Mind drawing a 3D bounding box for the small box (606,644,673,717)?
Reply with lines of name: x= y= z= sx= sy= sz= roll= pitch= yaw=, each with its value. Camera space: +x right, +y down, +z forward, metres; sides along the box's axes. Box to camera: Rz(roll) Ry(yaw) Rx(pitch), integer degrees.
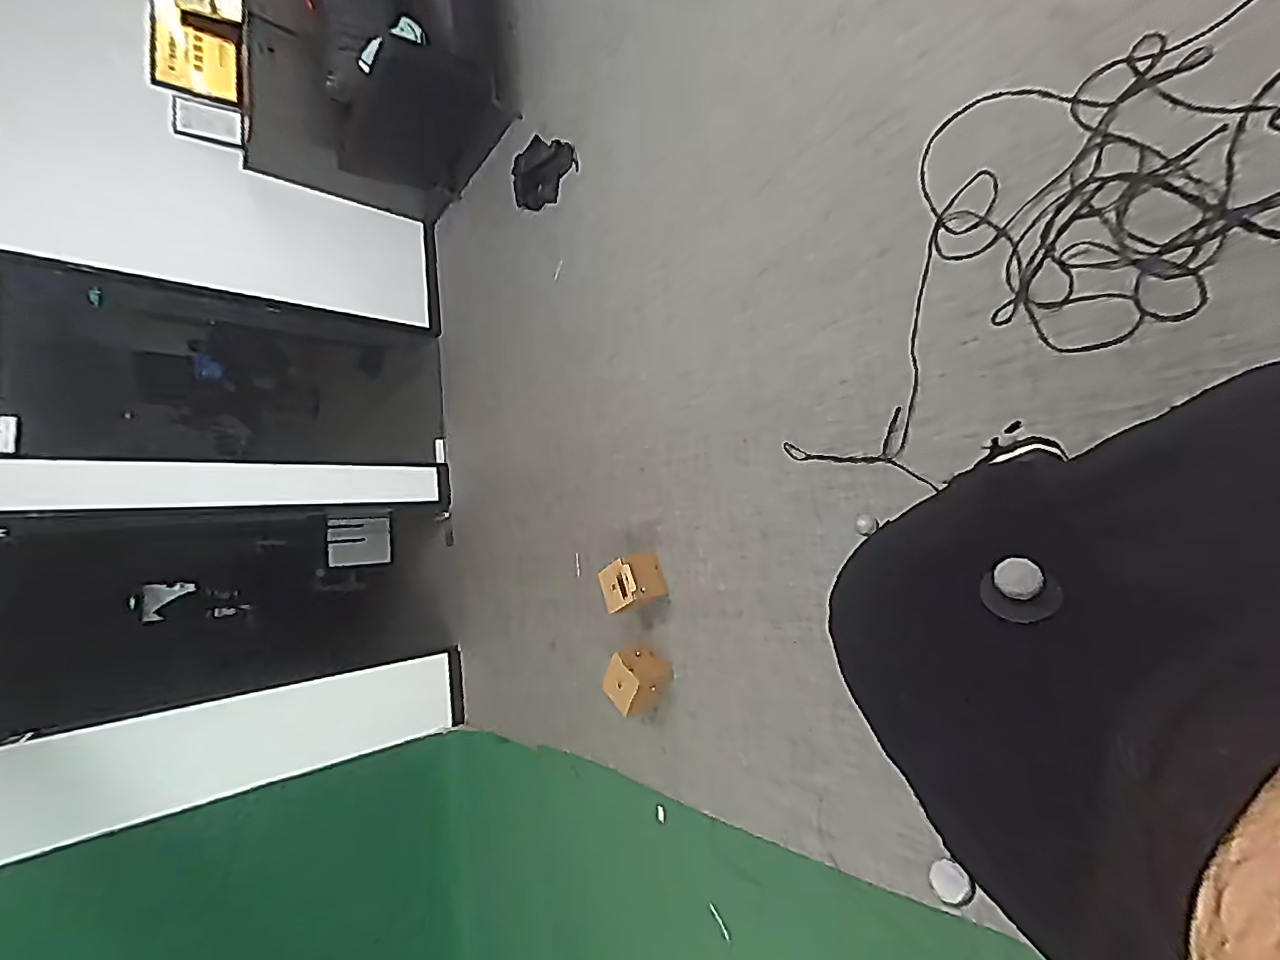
small box: x=0.003 y=0.742 z=2.021 sx=0.168 sy=0.176 sz=0.179 roll=39 pitch=119 yaw=44
